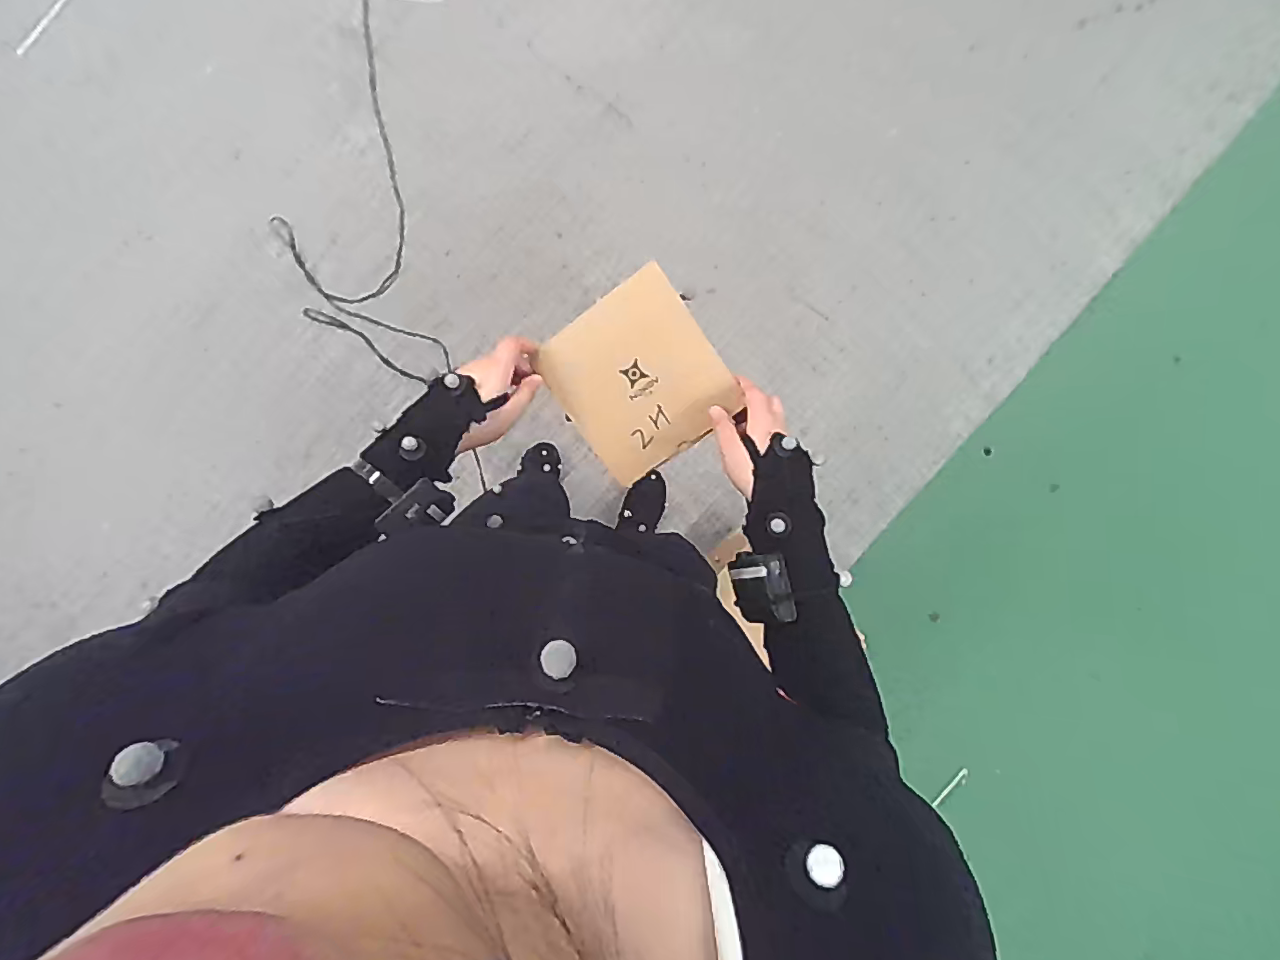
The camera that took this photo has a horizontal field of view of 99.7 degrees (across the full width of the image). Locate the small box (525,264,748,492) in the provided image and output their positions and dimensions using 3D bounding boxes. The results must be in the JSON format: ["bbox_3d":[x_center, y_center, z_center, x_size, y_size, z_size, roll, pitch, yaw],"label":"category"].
[{"bbox_3d":[0.002,-0.118,0.626,0.168,0.176,0.179,-35,100,15],"label":"small box"}]
